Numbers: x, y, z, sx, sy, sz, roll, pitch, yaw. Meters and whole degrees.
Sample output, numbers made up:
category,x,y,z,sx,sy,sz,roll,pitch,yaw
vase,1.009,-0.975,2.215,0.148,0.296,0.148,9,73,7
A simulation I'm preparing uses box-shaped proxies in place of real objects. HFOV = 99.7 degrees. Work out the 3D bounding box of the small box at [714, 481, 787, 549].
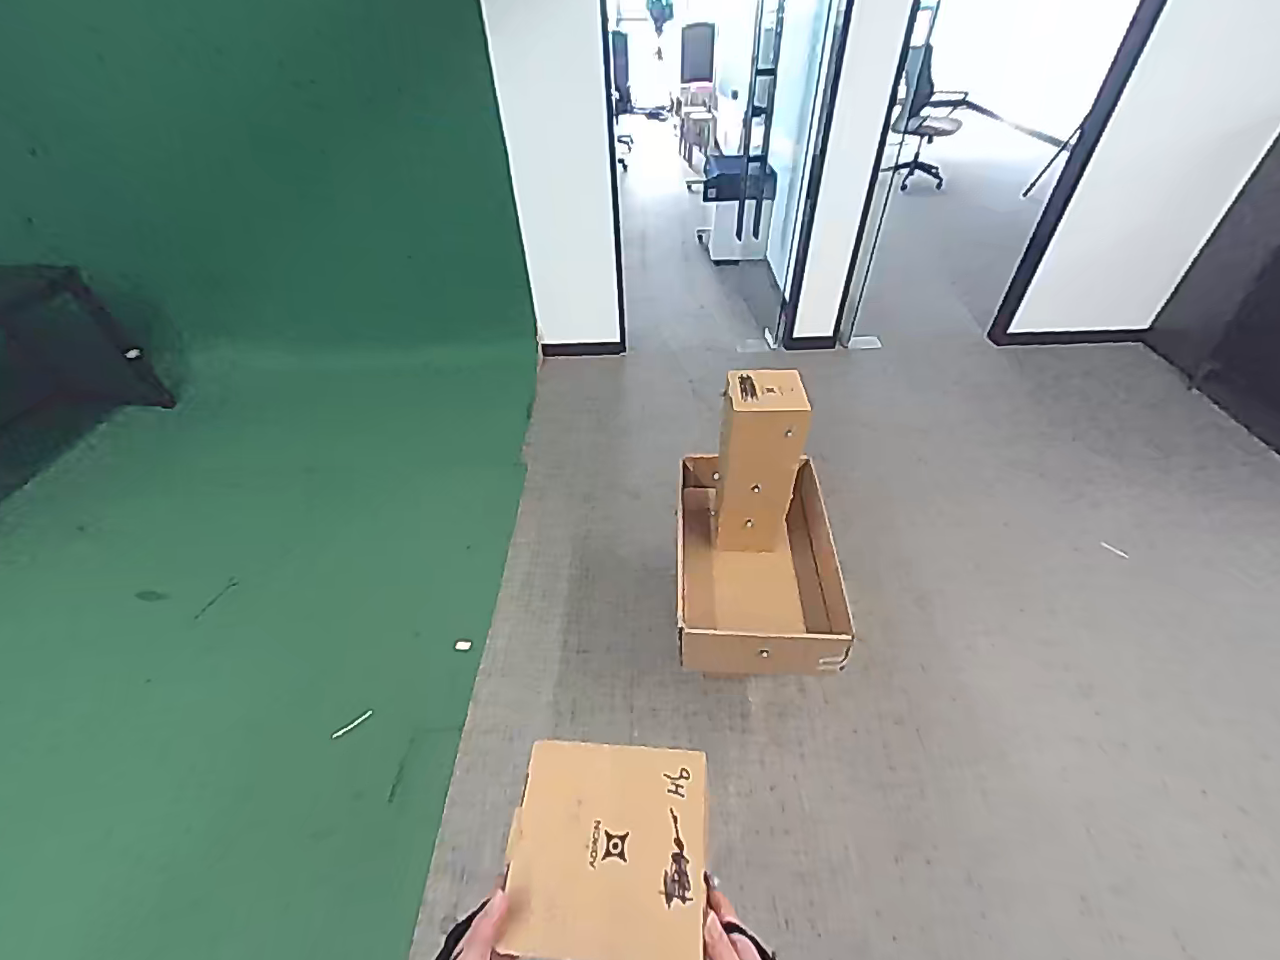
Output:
category,x,y,z,sx,sy,sz,roll,pitch,yaw
small box,0.307,0.083,1.535,0.179,0.176,0.168,1,45,4

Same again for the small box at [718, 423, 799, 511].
category,x,y,z,sx,sy,sz,roll,pitch,yaw
small box,0.302,-0.031,1.417,0.179,0.176,0.168,-1,44,3

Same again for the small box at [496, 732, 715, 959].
category,x,y,z,sx,sy,sz,roll,pitch,yaw
small box,-0.017,0.371,0.544,0.179,0.176,0.168,1,50,9
